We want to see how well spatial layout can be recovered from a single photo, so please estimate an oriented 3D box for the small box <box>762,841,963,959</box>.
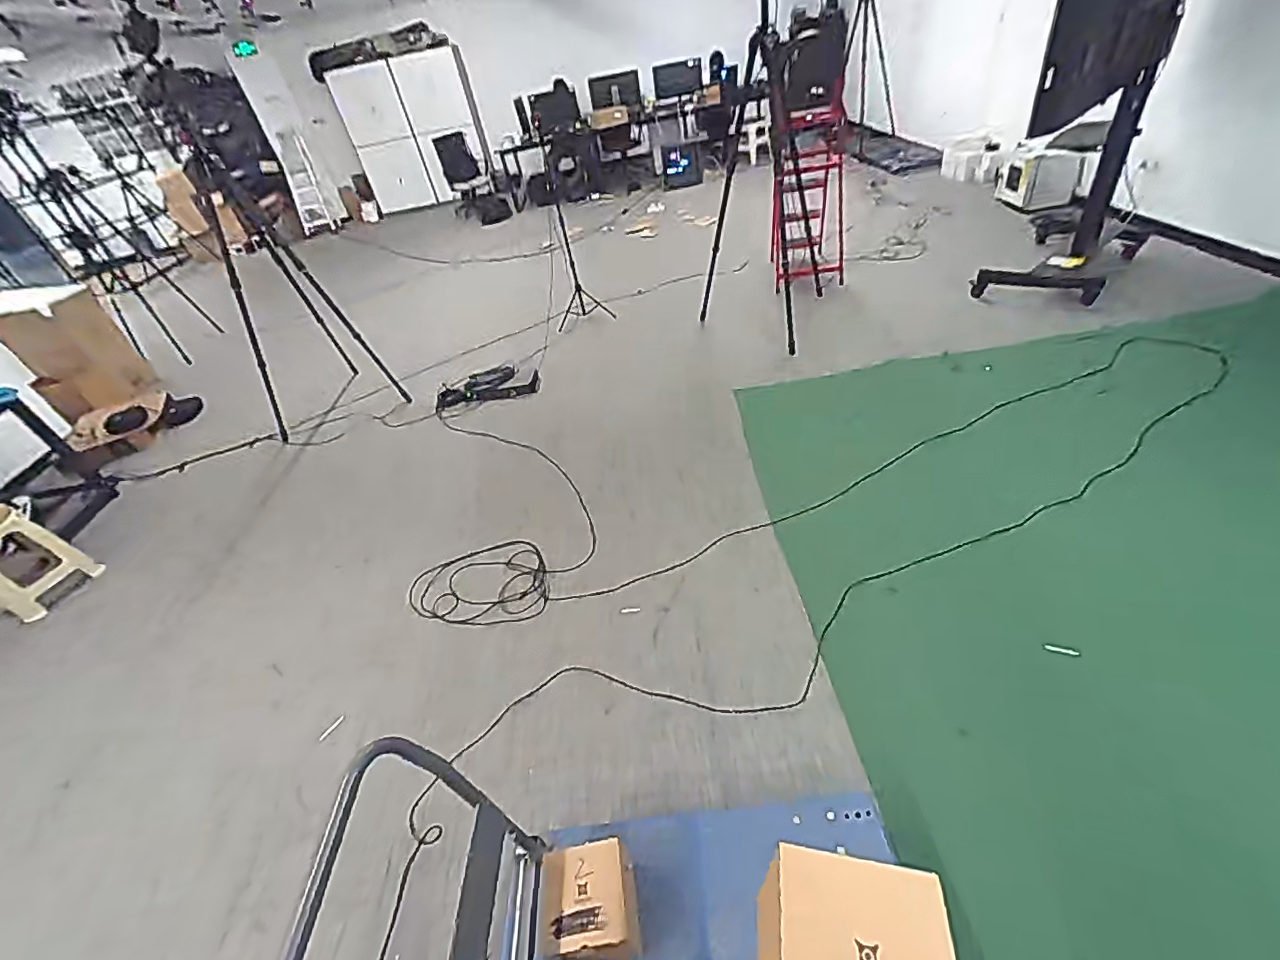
[{"bbox_3d":[0.218,0.513,0.553,0.168,0.176,0.179,6,39,8],"label":"small box"}]
